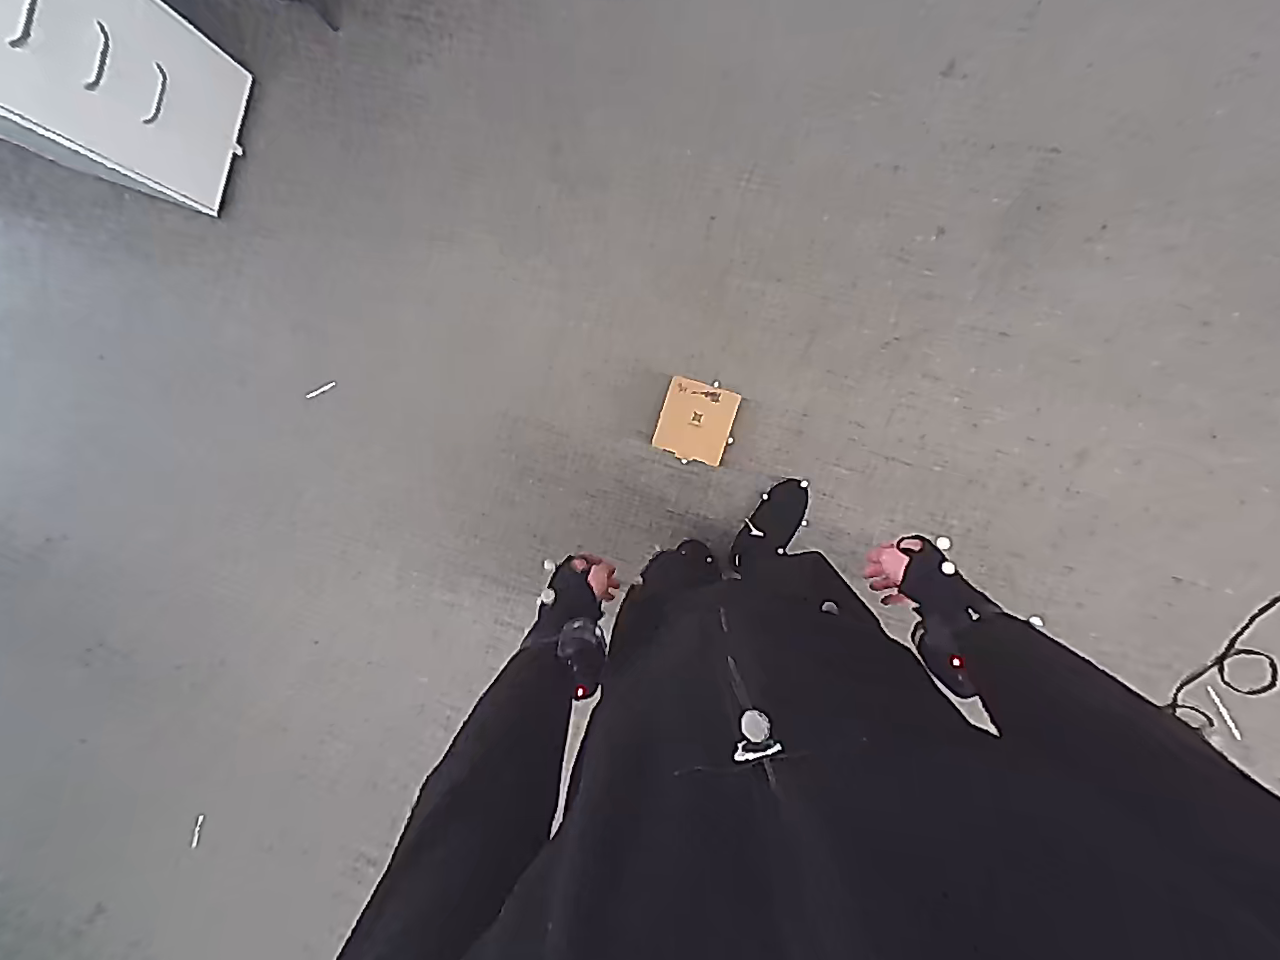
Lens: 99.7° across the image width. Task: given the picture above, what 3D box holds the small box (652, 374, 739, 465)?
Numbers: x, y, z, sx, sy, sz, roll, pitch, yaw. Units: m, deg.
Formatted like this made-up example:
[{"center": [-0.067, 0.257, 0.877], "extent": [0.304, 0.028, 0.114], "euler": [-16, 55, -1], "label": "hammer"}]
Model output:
[{"center": [0.141, -0.143, 1.329], "extent": [0.168, 0.176, 0.179], "euler": [17, 94, 8], "label": "small box"}]
